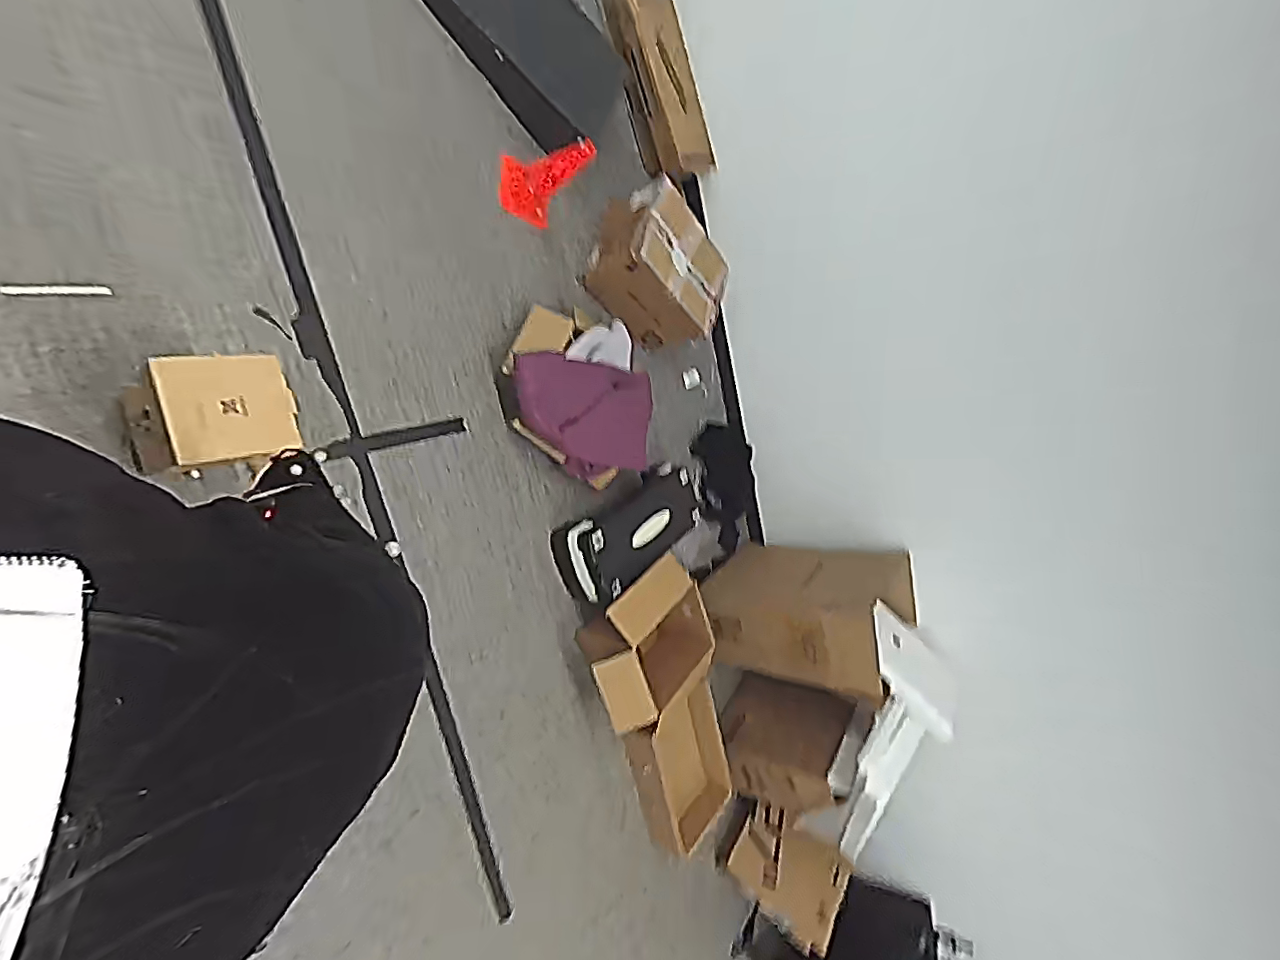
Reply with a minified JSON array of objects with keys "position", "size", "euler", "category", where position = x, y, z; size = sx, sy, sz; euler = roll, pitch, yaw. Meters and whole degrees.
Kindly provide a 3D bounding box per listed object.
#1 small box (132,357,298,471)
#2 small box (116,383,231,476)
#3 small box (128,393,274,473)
[{"position":[-0.724,-0.112,0.922],"size":[0.179,0.176,0.168],"euler":[-18,100,-47],"category":"small box"},{"position":[-0.968,-0.110,1.141],"size":[0.168,0.176,0.179],"euler":[-18,101,-48],"category":"small box"},{"position":[-0.839,-0.110,1.039],"size":[0.179,0.176,0.168],"euler":[-18,101,-48],"category":"small box"}]
